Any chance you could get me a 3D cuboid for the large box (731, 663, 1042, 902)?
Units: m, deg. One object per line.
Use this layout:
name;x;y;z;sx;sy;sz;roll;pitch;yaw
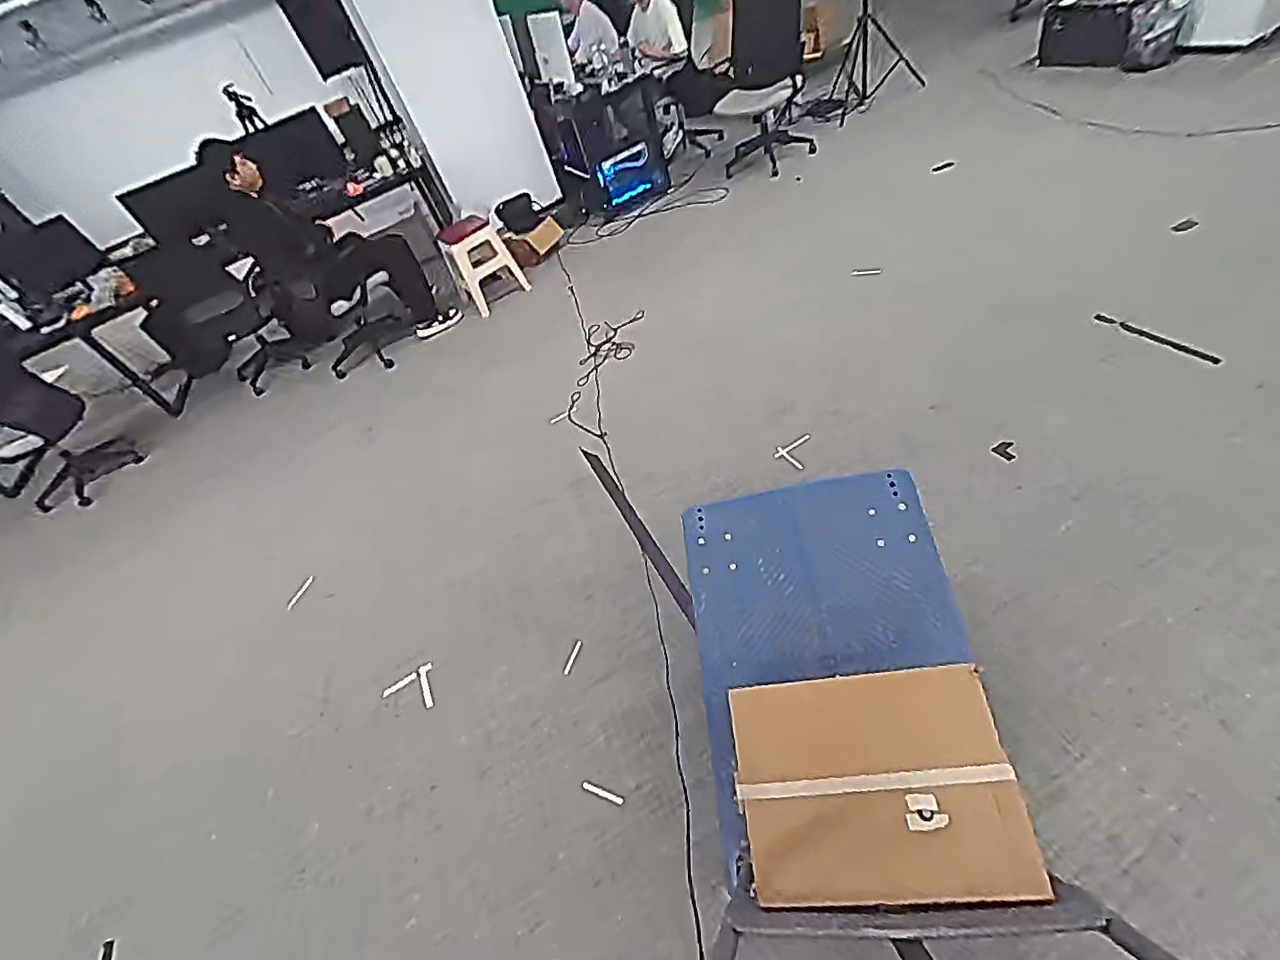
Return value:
large box;0.402;0.540;0.993;0.408;0.320;0.320;-11;63;11
